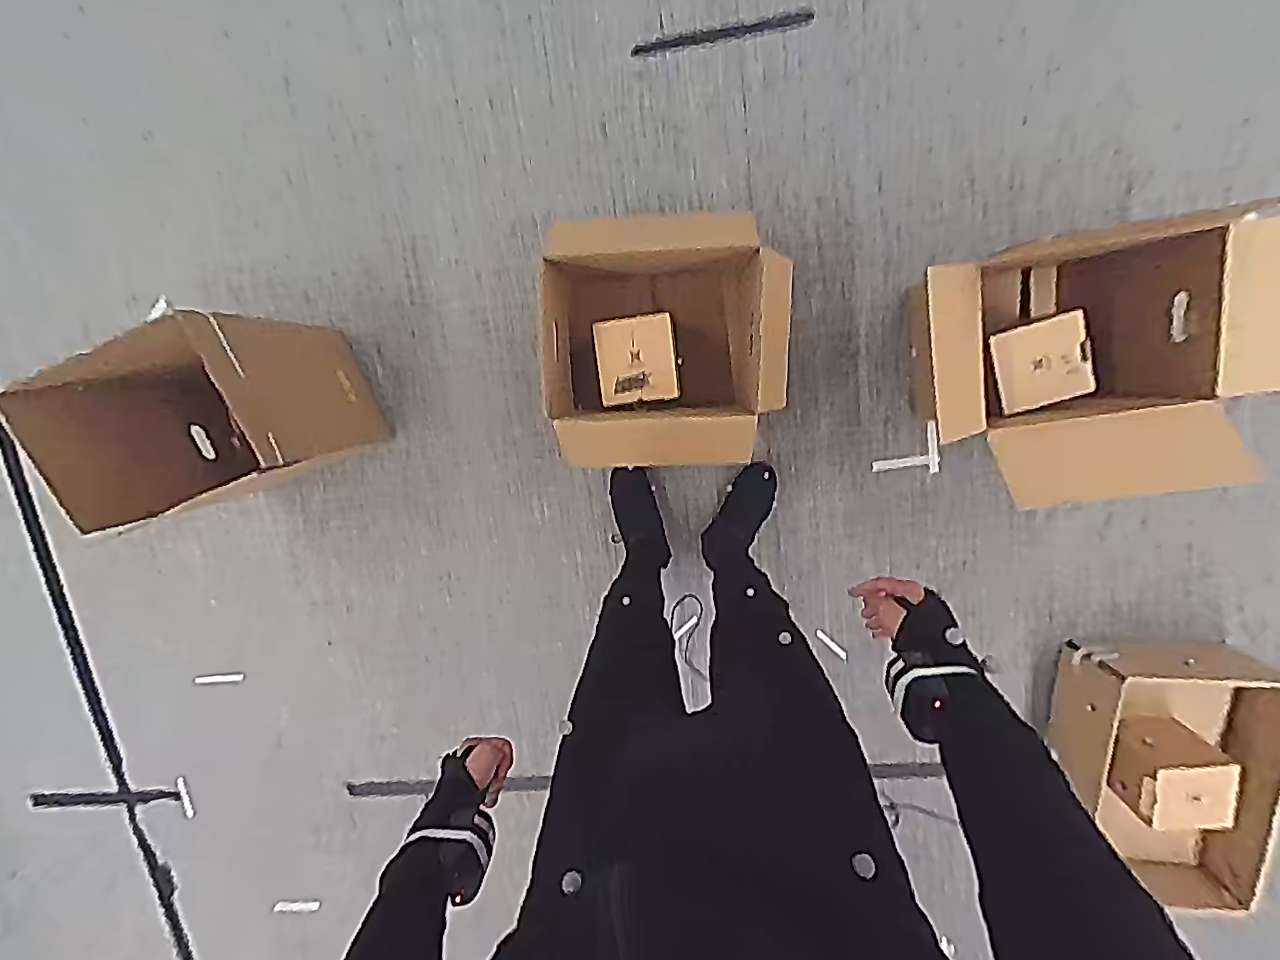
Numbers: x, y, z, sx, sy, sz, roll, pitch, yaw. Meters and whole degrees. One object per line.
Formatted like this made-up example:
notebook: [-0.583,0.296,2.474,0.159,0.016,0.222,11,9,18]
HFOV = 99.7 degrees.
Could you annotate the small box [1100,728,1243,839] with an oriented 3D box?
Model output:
small box: [1.240,0.710,1.277,0.179,0.176,0.168,-4,102,5]
